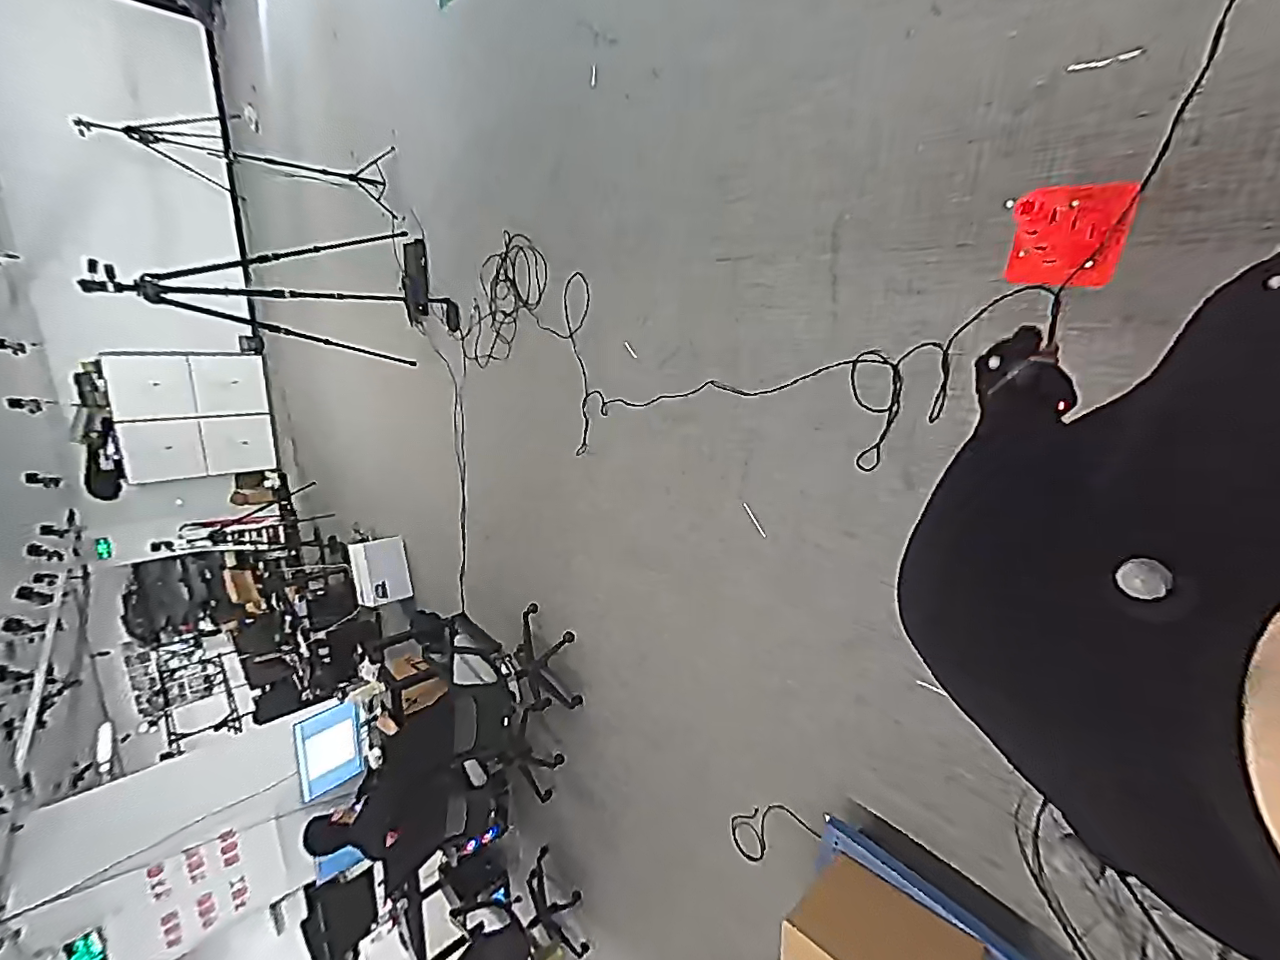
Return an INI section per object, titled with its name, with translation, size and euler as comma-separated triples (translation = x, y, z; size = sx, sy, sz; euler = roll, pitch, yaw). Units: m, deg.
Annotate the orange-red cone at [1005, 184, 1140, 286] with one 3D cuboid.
[orange-red cone]
translation = 0.804, -0.506, 1.056
size = 0.198, 0.360, 0.199
euler = 25, 115, 41
